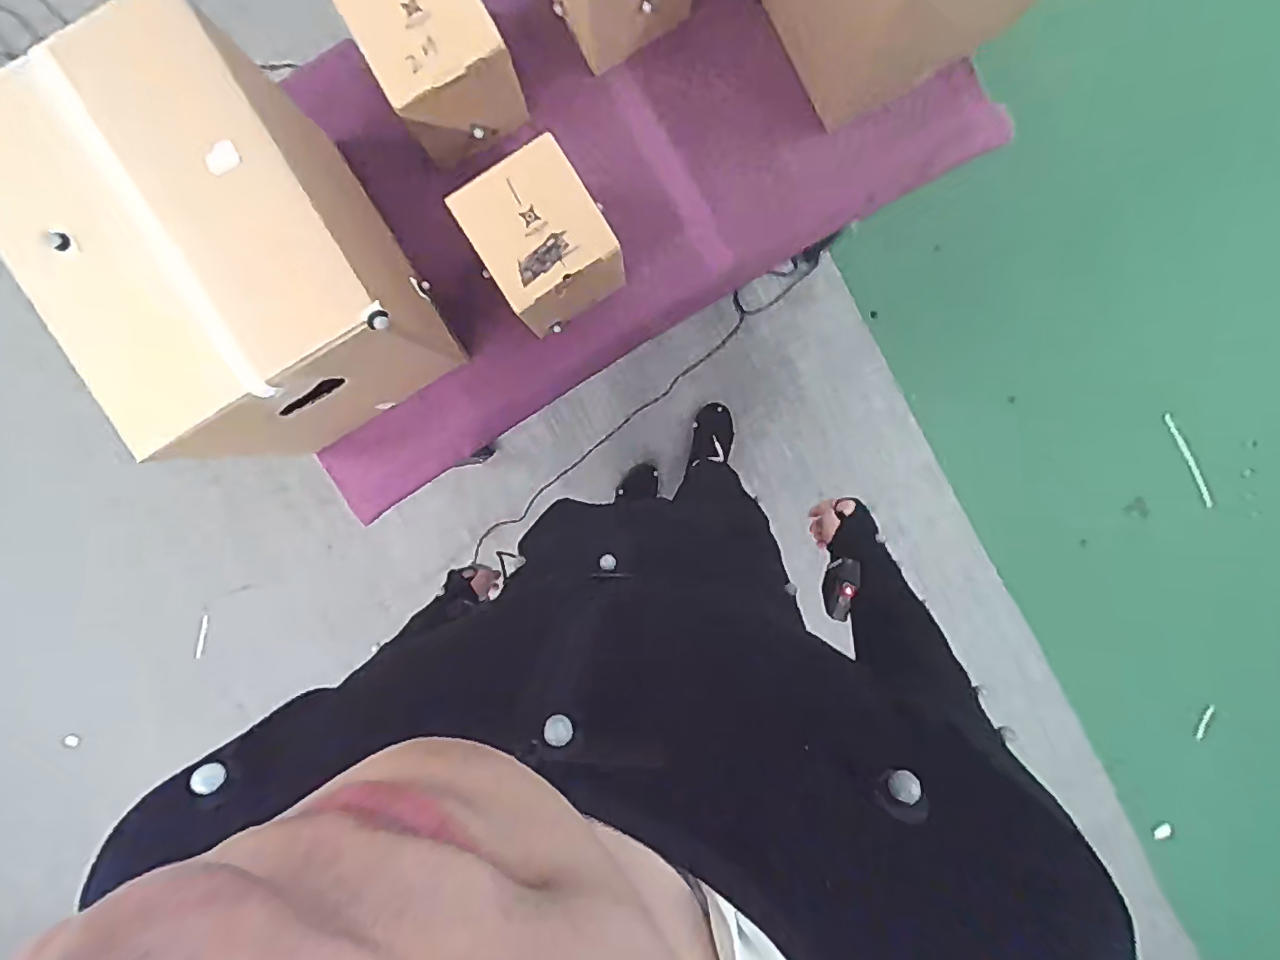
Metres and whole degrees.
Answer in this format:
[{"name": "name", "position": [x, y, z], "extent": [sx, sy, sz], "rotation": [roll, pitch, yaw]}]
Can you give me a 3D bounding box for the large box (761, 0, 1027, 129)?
[{"name": "large box", "position": [0.330, -0.778, 0.682], "extent": [0.320, 0.320, 0.408], "rotation": [-29, 94, 3]}]
